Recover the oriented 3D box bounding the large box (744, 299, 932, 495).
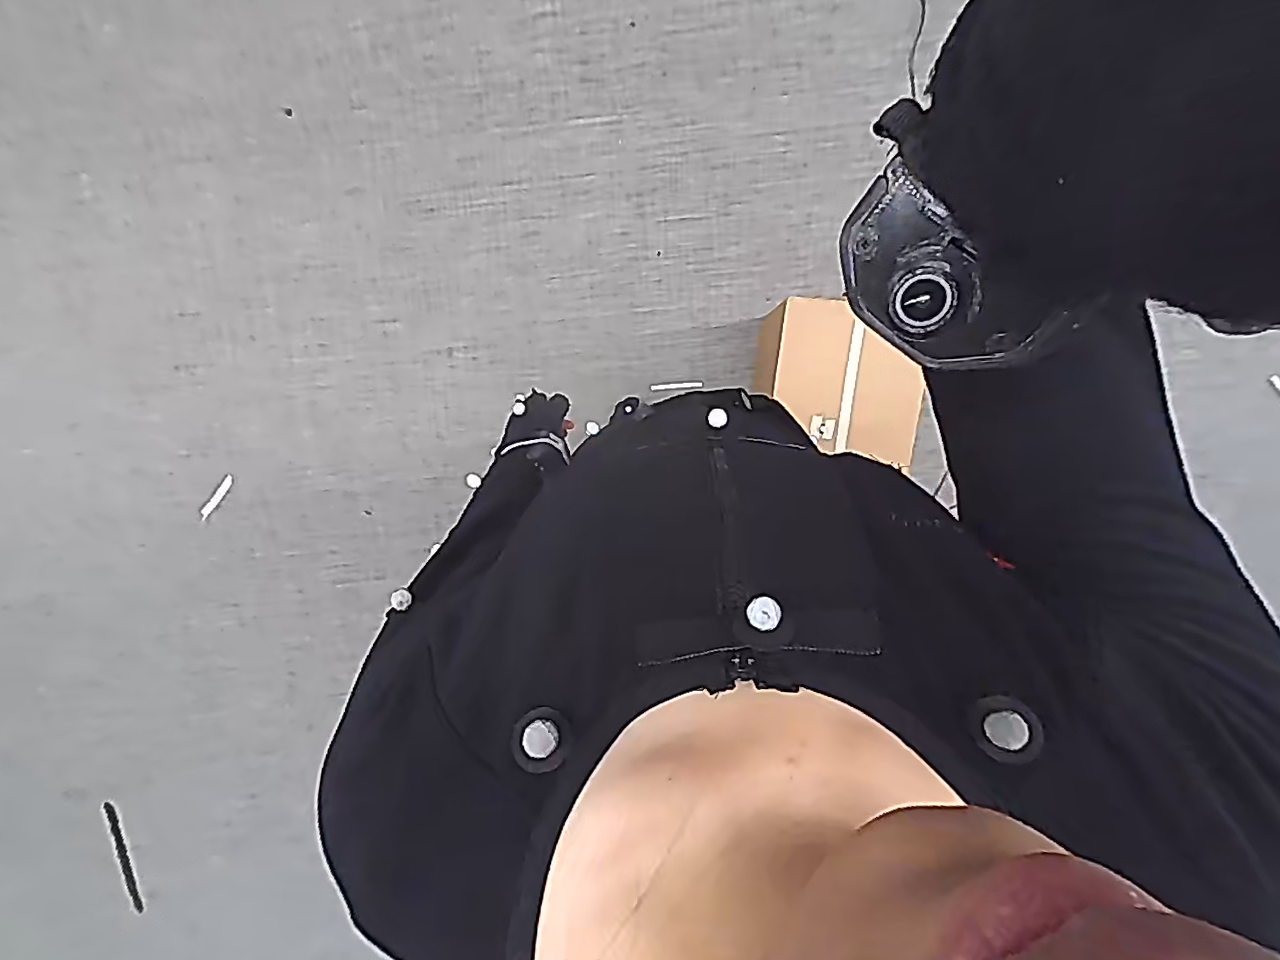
[{"bbox_3d":[0.450,-0.202,1.316,0.320,0.320,0.408,7,101,2],"label":"large box"}]
